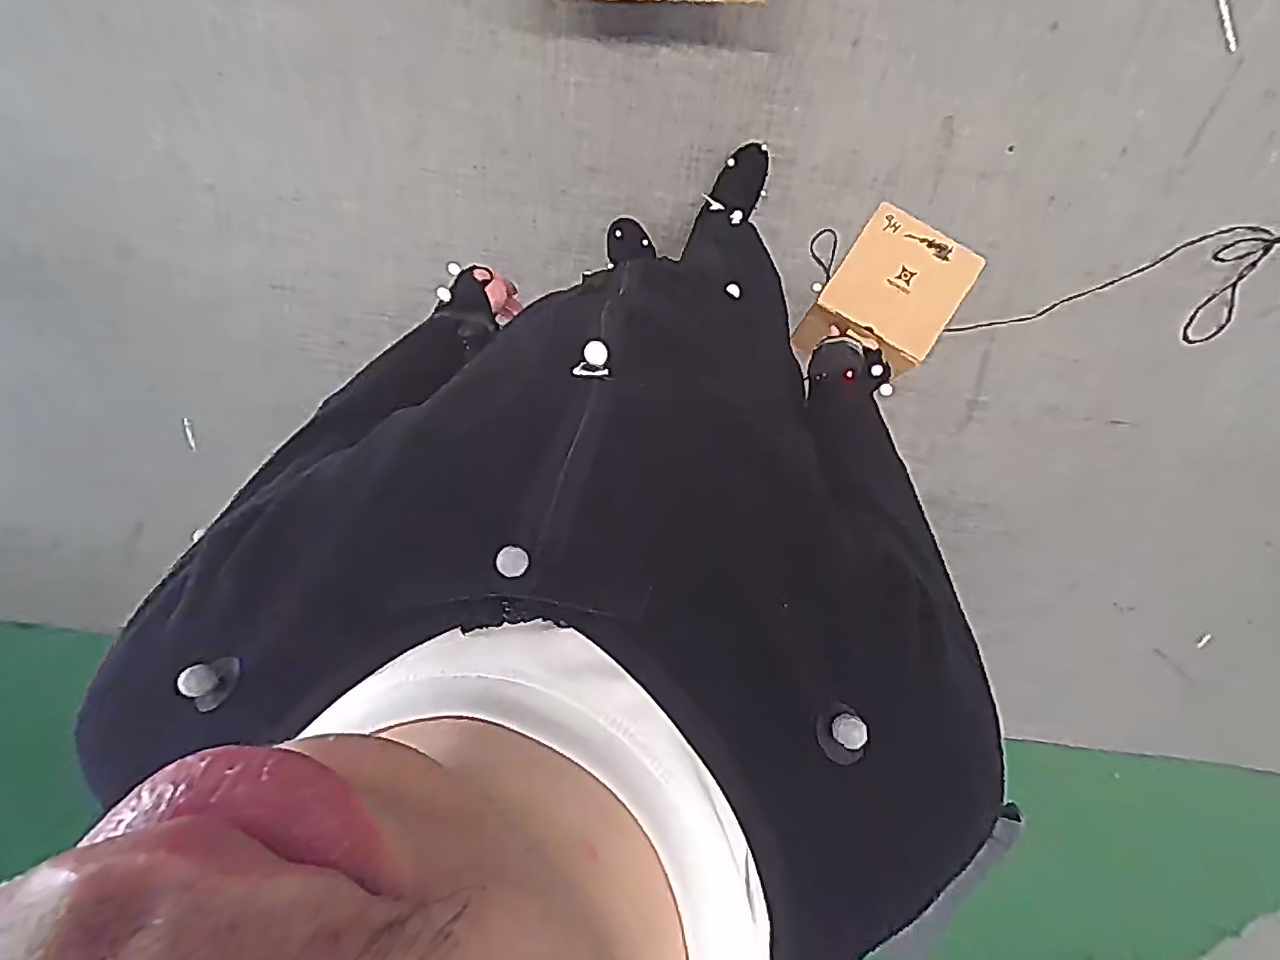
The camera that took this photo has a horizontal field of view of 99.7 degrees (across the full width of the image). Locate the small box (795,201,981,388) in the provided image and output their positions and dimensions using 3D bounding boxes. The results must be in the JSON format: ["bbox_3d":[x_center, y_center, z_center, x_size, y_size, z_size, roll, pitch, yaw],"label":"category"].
[{"bbox_3d":[0.355,-0.265,0.817,0.168,0.176,0.179,35,86,5],"label":"small box"}]
